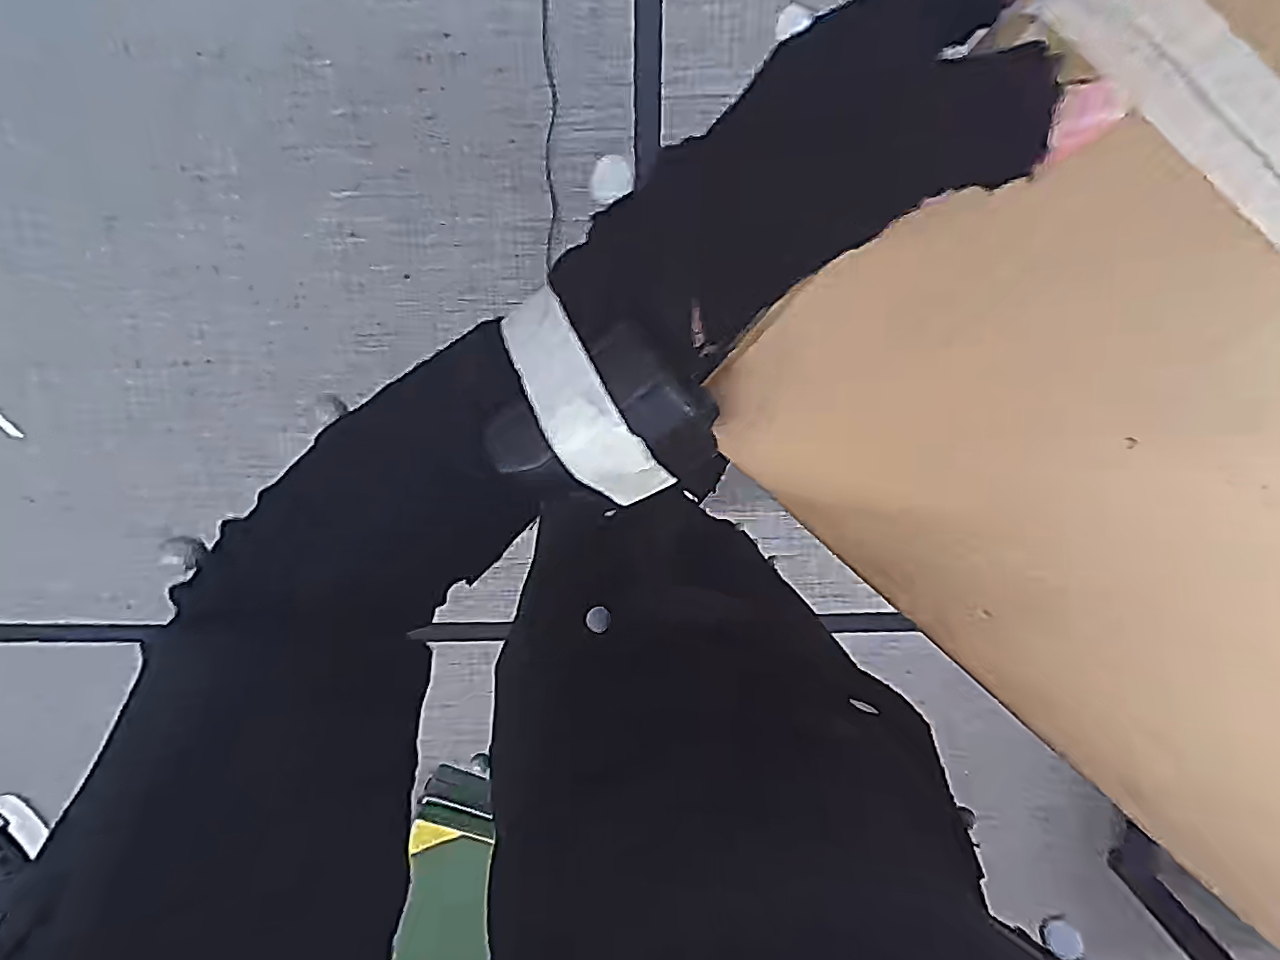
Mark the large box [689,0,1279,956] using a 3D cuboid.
[{"bbox_3d":[0.294,-0.047,0.294,0.408,0.320,0.320,41,118,-3],"label":"large box"}]
